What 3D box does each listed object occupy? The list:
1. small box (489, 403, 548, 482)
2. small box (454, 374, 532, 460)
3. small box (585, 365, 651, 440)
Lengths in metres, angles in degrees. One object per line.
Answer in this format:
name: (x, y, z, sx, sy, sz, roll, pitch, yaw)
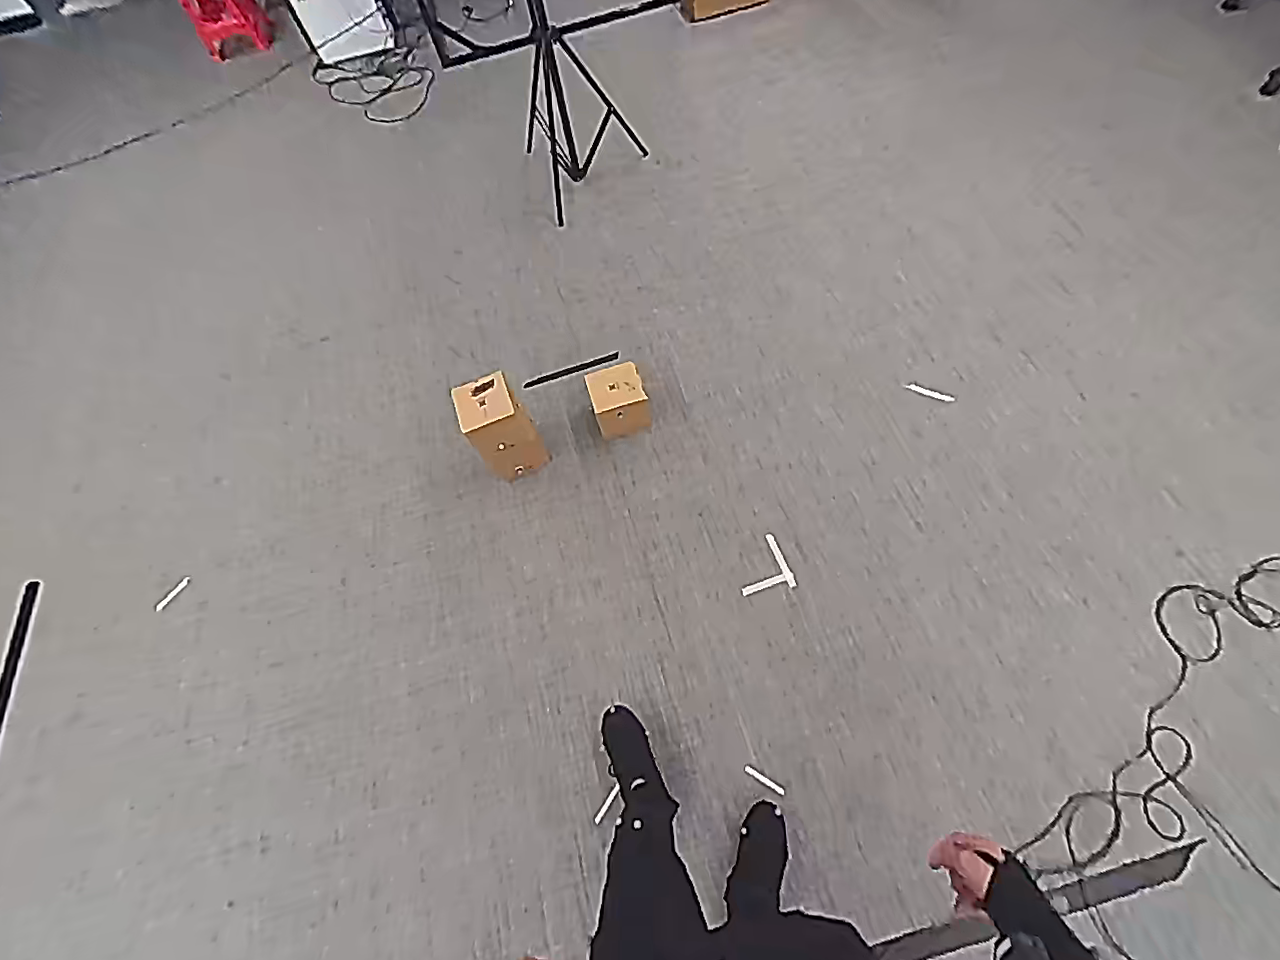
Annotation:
small box: (-0.427, -0.123, 1.820, 0.168, 0.176, 0.179, -23, 63, -4)
small box: (-0.452, -0.191, 1.673, 0.168, 0.176, 0.179, -22, 63, -3)
small box: (-0.071, -0.258, 1.841, 0.179, 0.176, 0.168, -16, 63, -2)
